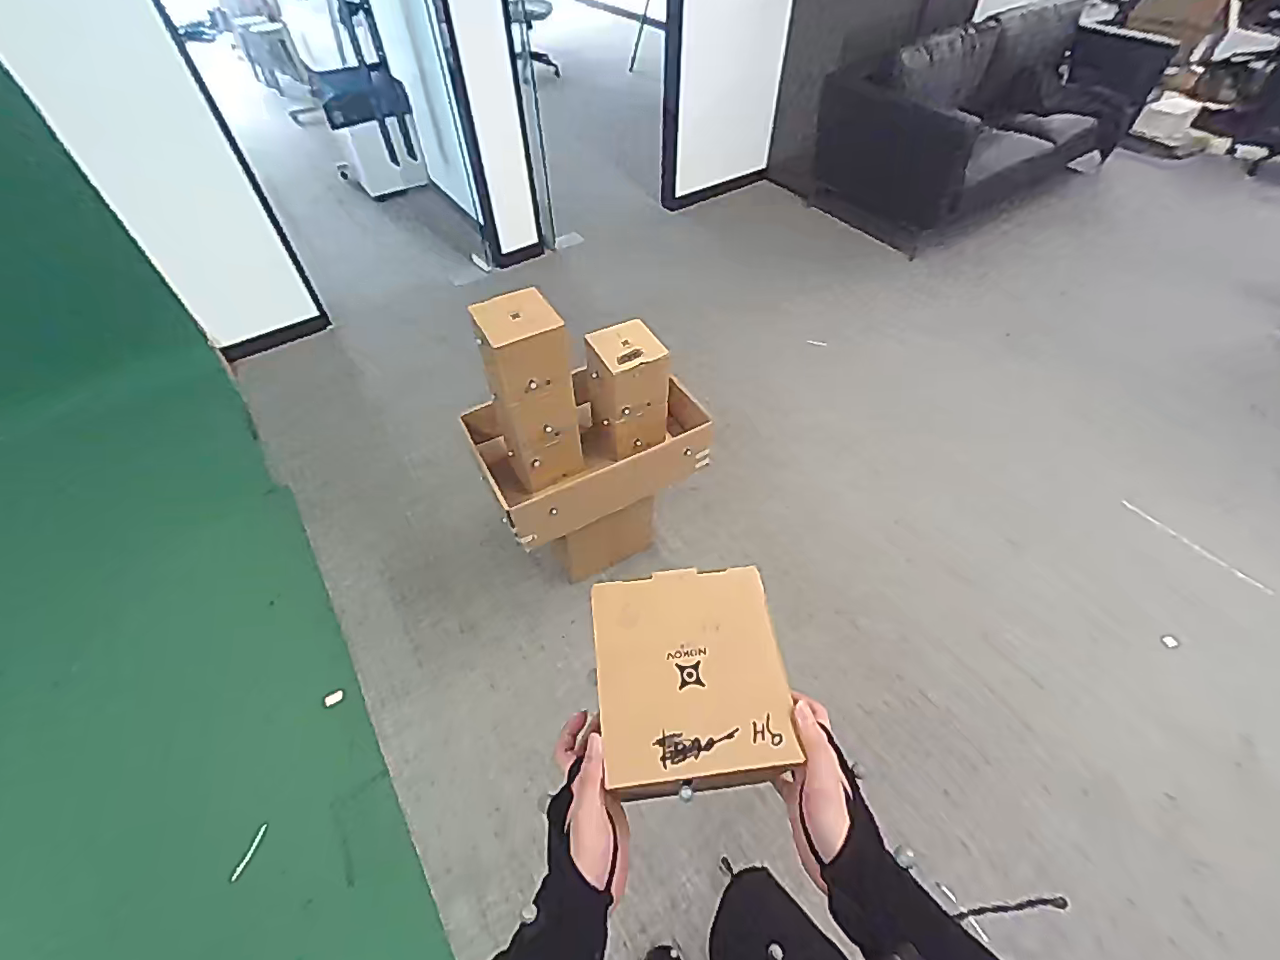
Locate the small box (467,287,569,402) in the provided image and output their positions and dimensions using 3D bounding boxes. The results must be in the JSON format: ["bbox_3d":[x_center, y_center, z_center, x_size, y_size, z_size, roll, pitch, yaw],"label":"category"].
[{"bbox_3d":[-0.278,-0.312,1.248,0.168,0.176,0.179,-24,55,-17],"label":"small box"}]

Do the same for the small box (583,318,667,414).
[{"bbox_3d":[-0.038,-0.297,1.446,0.168,0.176,0.179,-22,54,-17],"label":"small box"}]

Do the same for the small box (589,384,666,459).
[{"bbox_3d":[-0.038,-0.192,1.574,0.168,0.176,0.179,-23,55,-18],"label":"small box"}]

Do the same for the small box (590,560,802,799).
[{"bbox_3d":[0.040,0.200,0.536,0.168,0.176,0.179,-6,56,-3],"label":"small box"}]

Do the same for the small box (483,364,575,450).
[{"bbox_3d":[-0.278,-0.208,1.373,0.168,0.176,0.179,-24,54,-18],"label":"small box"}]
